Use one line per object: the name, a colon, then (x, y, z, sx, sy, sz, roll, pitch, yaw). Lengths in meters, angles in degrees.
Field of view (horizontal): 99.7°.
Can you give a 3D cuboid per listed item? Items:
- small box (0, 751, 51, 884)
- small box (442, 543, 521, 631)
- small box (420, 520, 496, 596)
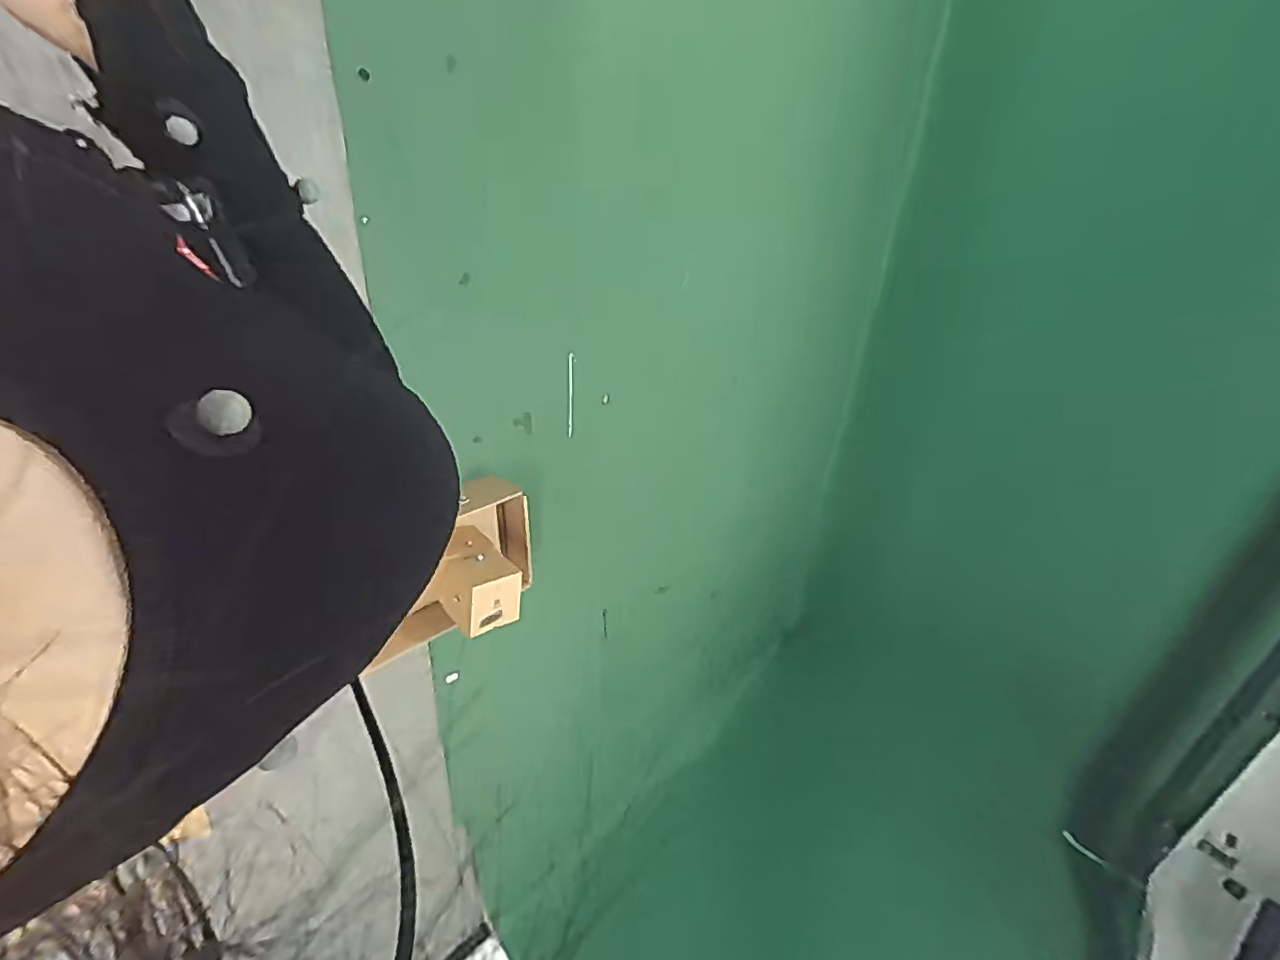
small box: (-1.243, 0.646, 0.995, 0.179, 0.176, 0.168, -20, 124, -41)
small box: (-0.482, 0.316, 1.633, 0.168, 0.176, 0.179, -12, 121, -44)
small box: (-0.589, 0.245, 1.737, 0.179, 0.176, 0.168, -8, 119, -45)
